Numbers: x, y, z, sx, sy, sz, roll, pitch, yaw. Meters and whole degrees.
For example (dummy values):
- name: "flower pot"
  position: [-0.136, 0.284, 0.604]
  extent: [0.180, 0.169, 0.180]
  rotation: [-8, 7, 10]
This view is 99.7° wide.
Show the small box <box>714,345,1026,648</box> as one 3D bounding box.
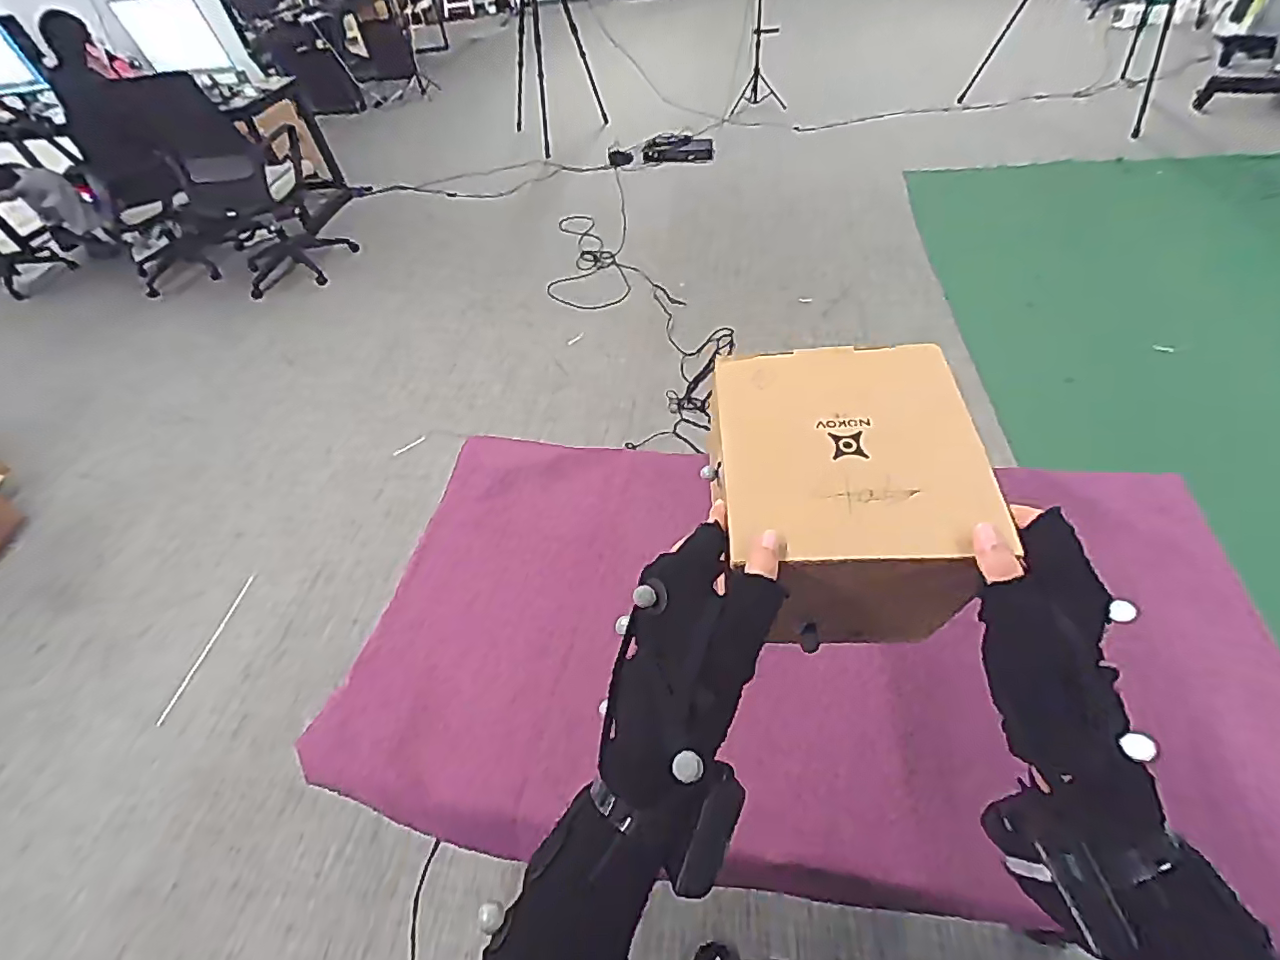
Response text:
- name: "small box"
  position: [0.145, 0.019, 0.422]
  extent: [0.168, 0.176, 0.179]
  rotation: [-2, 57, 6]
